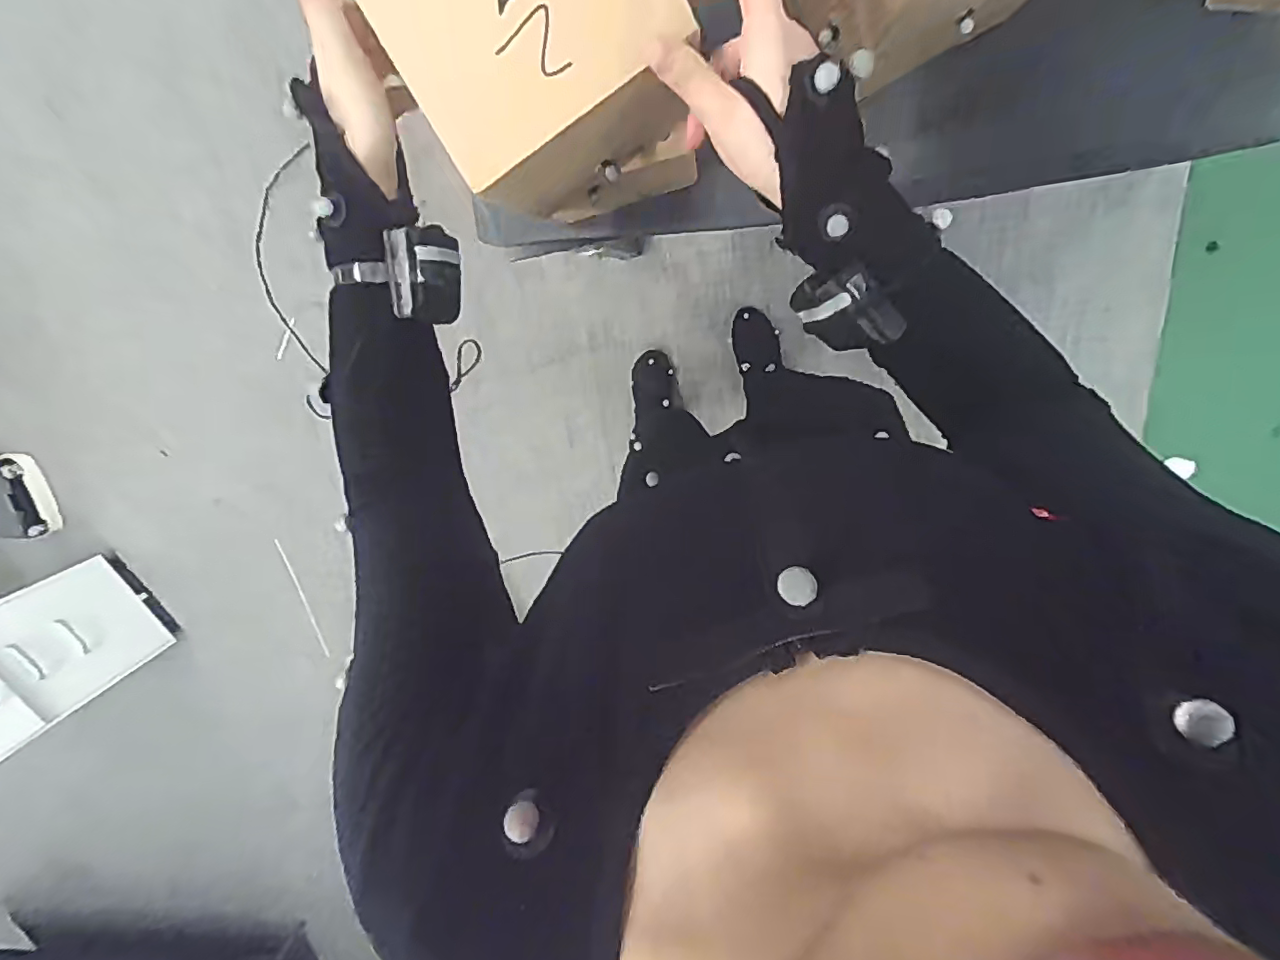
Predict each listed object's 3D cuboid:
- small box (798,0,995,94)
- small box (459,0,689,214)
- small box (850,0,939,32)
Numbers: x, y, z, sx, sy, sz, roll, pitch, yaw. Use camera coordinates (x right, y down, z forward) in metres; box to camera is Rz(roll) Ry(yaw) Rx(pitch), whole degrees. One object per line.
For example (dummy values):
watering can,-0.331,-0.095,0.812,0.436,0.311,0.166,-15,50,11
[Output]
small box,0.229,-0.476,0.461,0.179,0.176,0.168,-22,107,16
small box,-0.050,-0.386,0.537,0.168,0.176,0.179,-12,109,12
small box,0.207,-0.415,0.311,0.179,0.176,0.168,-20,108,16
